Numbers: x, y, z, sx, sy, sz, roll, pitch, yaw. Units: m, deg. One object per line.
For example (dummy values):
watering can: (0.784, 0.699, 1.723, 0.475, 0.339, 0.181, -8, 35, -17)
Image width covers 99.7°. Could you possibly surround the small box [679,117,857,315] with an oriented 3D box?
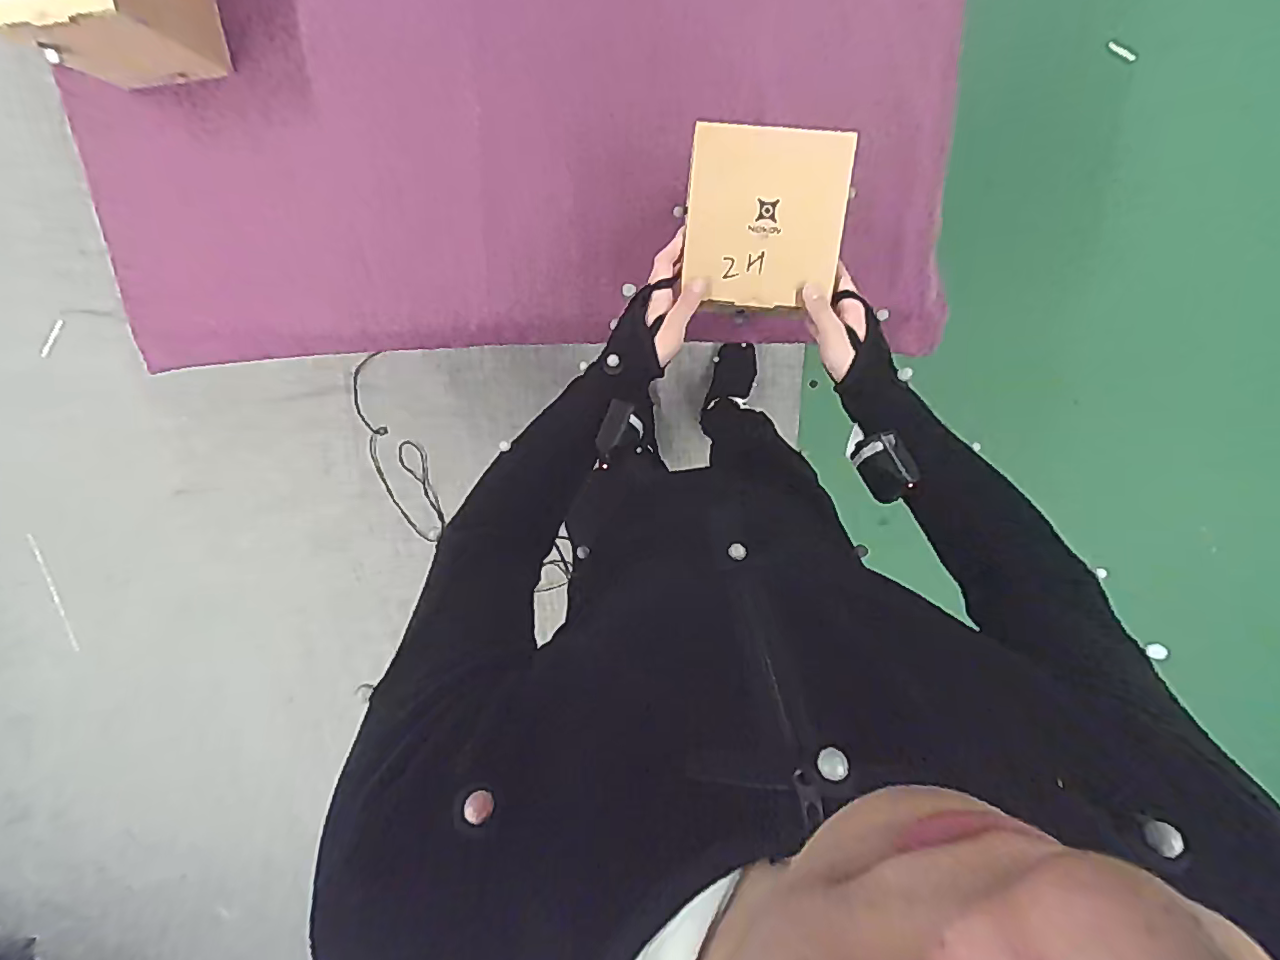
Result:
small box: (0.136, -0.298, 0.645, 0.168, 0.176, 0.179, 5, 105, 2)
